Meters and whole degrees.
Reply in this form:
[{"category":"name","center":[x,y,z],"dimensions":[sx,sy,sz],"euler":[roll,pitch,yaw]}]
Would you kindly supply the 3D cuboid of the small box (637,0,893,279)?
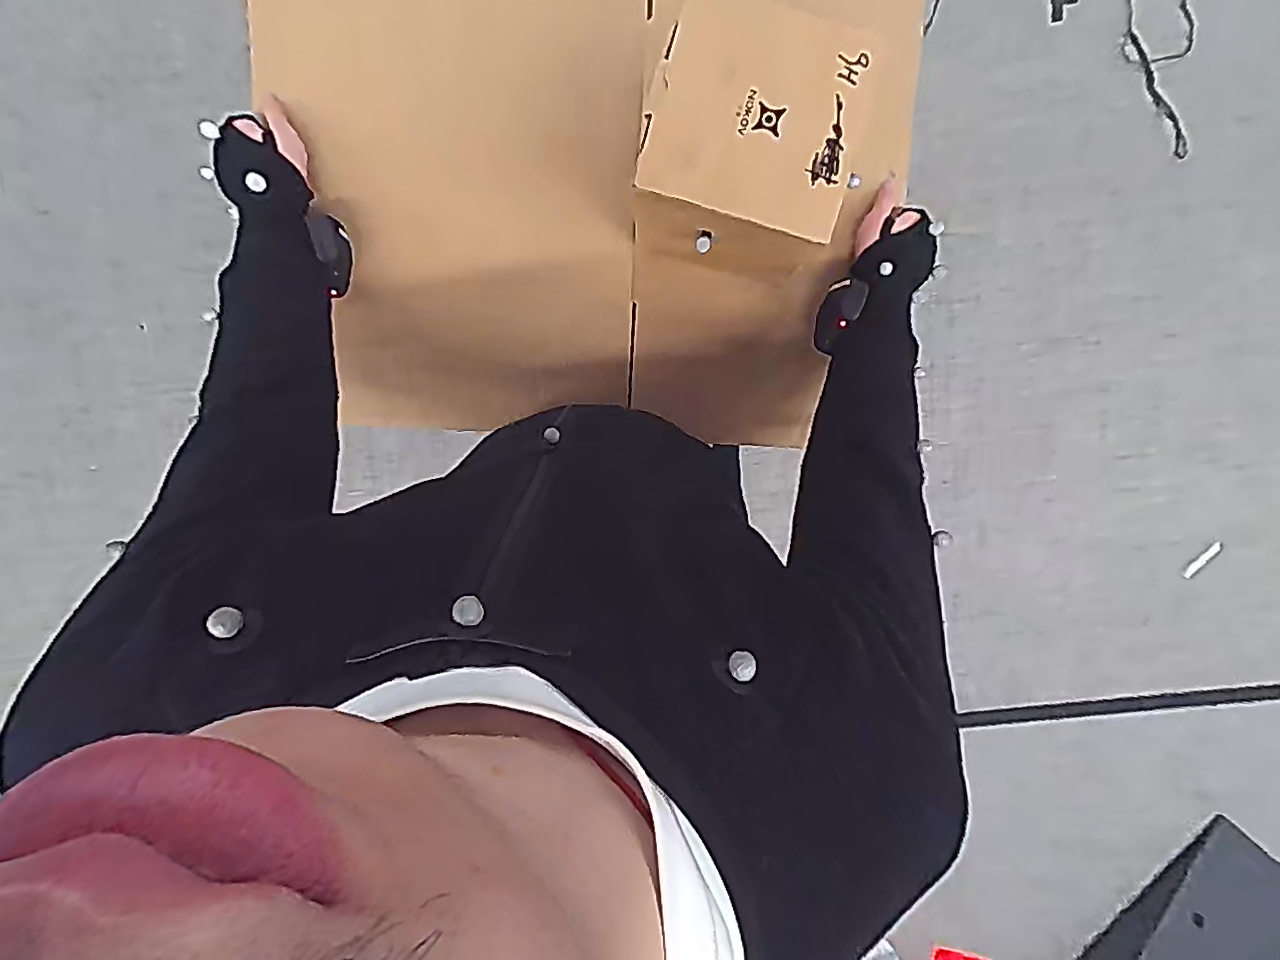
[{"category":"small box","center":[0.107,-0.315,0.531],"dimensions":[0.179,0.176,0.168],"euler":[17,97,1]}]
